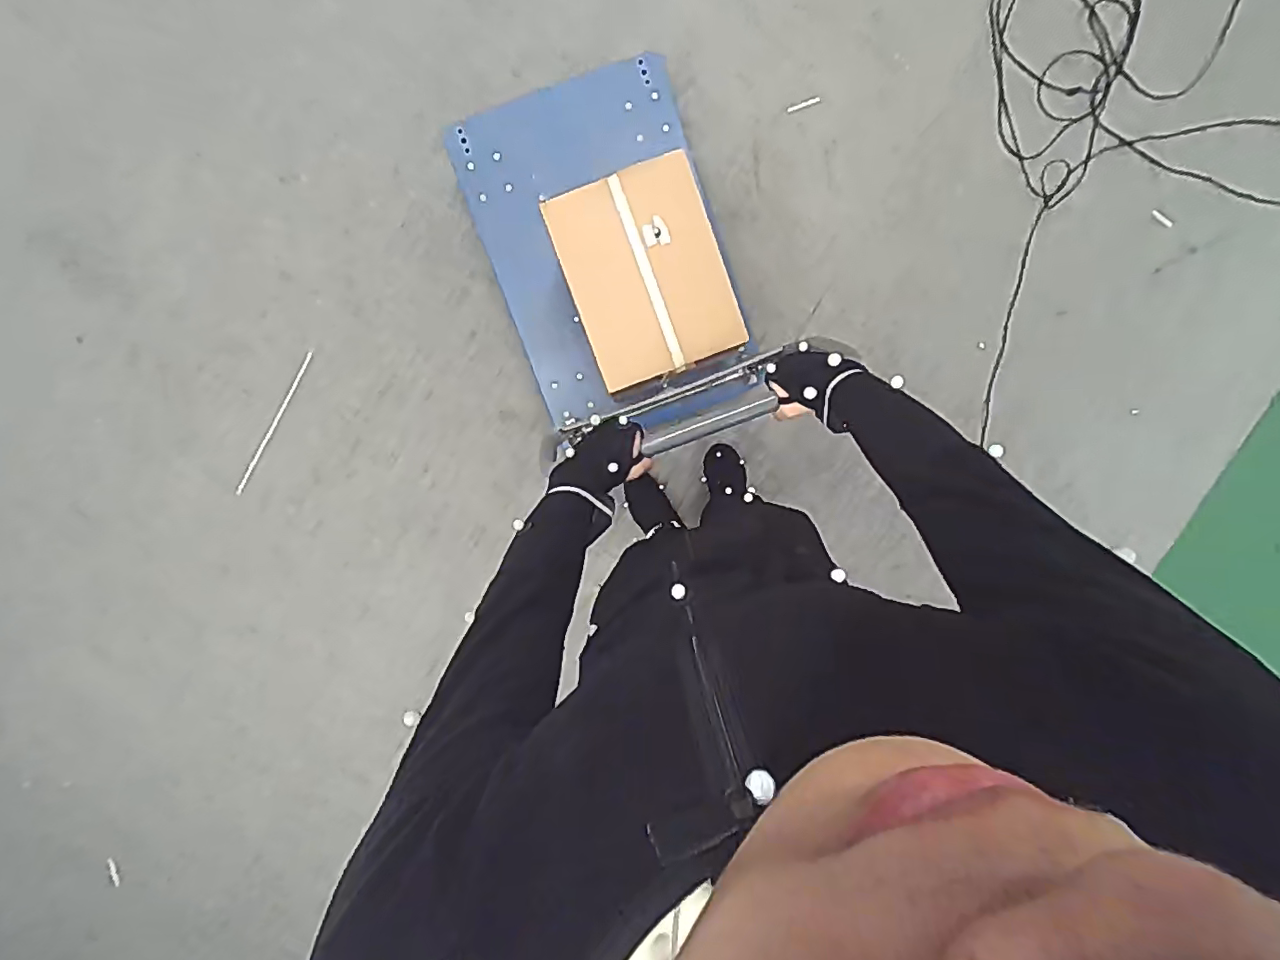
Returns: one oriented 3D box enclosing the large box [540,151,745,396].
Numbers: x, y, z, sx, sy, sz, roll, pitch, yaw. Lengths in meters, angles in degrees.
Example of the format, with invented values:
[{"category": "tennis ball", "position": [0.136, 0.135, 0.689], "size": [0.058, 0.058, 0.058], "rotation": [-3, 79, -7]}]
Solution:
[{"category": "large box", "position": [0.009, -0.443, 1.260], "size": [0.320, 0.320, 0.408], "rotation": [-20, 95, 1]}]
